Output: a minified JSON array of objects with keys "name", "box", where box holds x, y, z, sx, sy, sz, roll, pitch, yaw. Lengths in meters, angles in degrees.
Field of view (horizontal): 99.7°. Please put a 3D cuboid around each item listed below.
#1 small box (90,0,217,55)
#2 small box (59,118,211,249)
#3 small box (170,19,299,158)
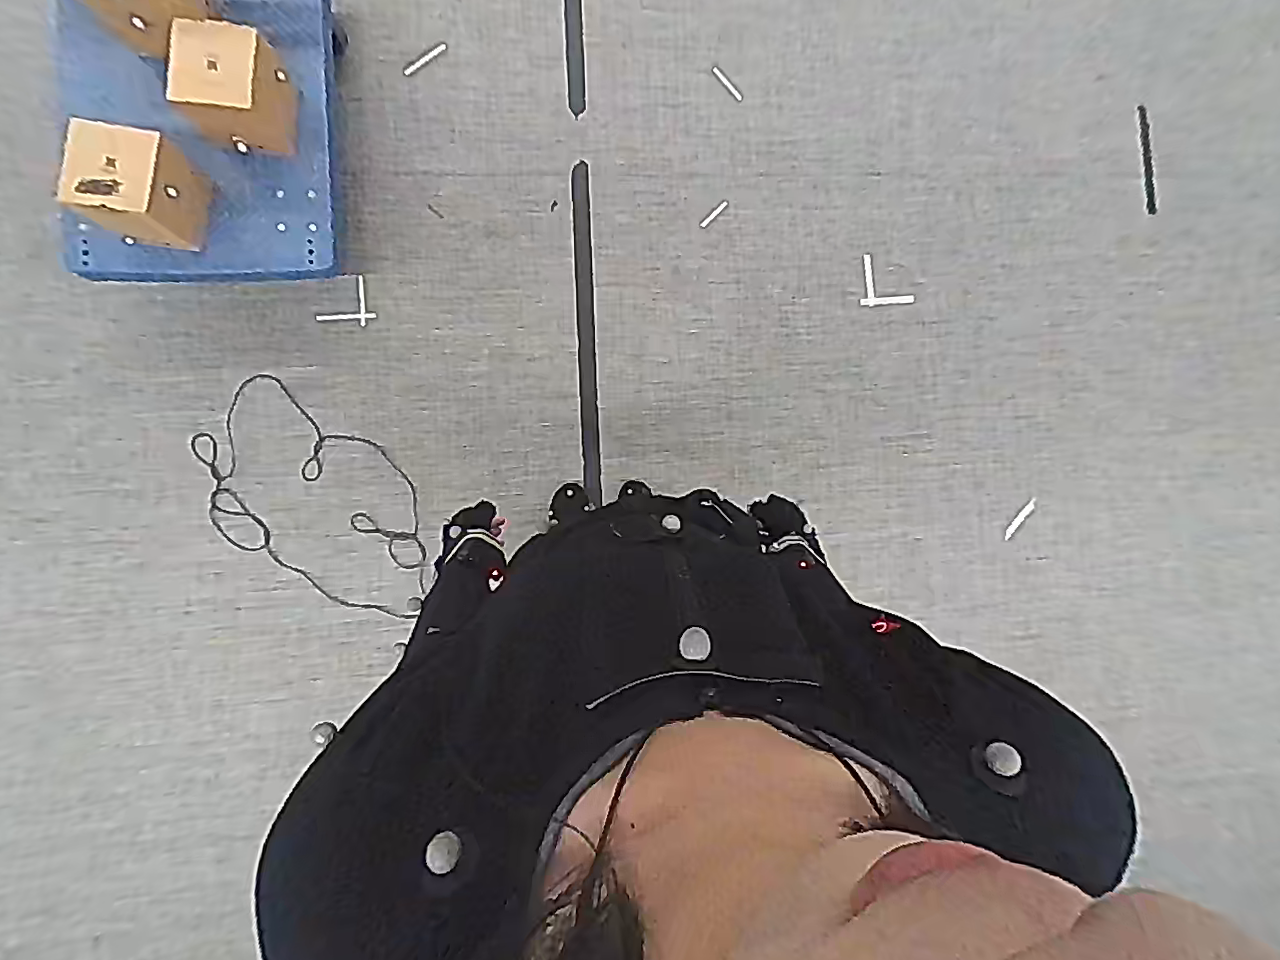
[{"name":"small box","box":[-1.072,-1.071,1.180,0.179,0.176,0.168,-7,89,-6]},{"name":"small box","box":[-1.070,-0.626,1.163,0.168,0.176,0.179,7,86,-7]},{"name":"small box","box":[-0.884,-0.856,1.195,0.168,0.176,0.179,3,89,-5]}]
